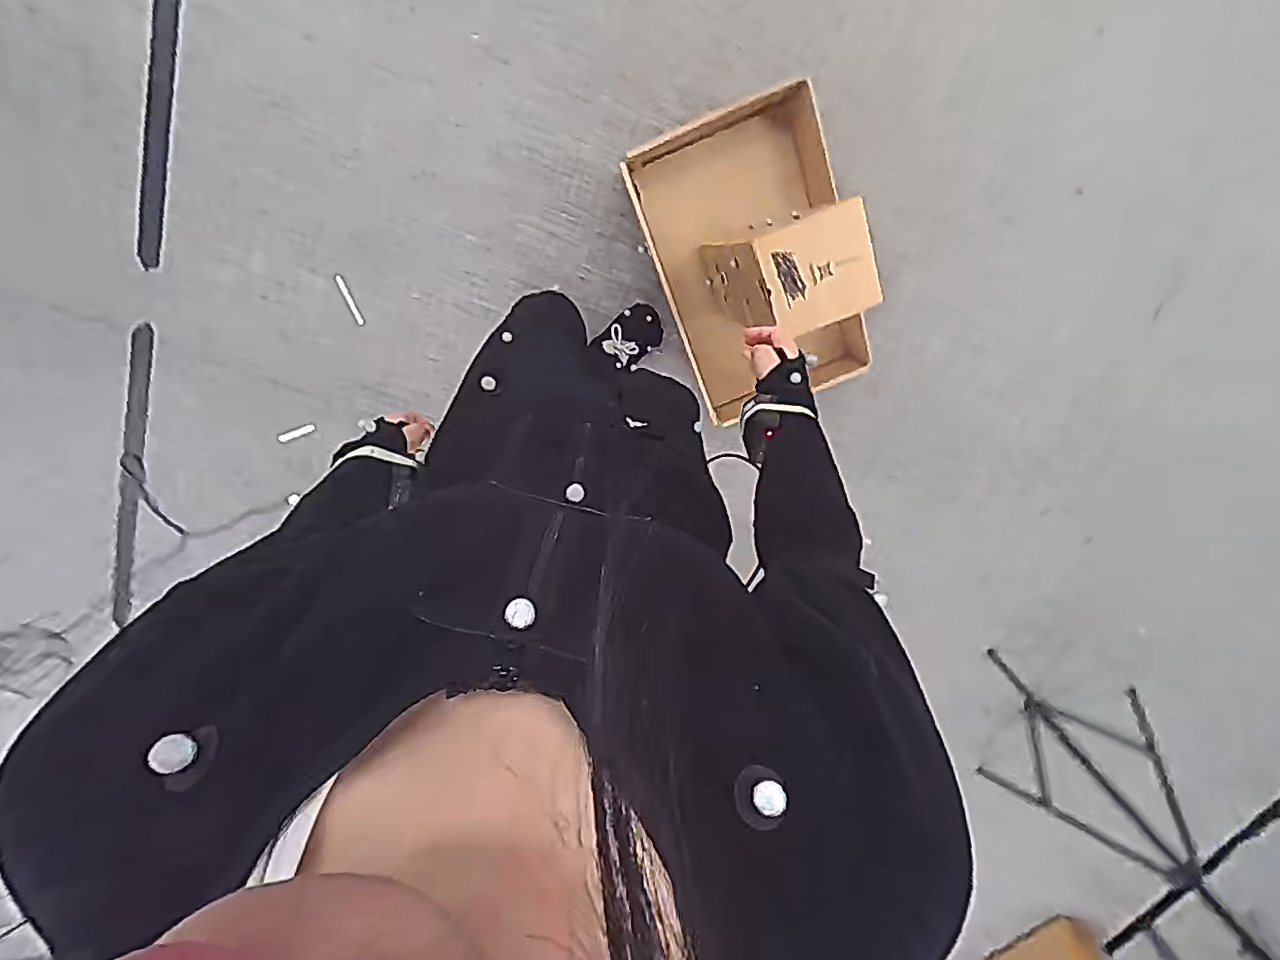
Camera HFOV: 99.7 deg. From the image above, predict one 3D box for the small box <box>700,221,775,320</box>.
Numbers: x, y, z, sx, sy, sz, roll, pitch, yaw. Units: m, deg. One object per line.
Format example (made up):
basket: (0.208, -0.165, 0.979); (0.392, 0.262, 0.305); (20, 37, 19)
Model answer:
small box: (0.249, -0.475, 1.219); (0.179, 0.176, 0.168); (-18, 112, 4)

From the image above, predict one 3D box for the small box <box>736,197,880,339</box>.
small box: (0.272, -0.354, 0.917); (0.179, 0.176, 0.168); (-21, 112, 4)

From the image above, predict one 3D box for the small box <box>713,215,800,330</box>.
small box: (0.259, -0.413, 1.070); (0.179, 0.176, 0.168); (-19, 112, 5)
